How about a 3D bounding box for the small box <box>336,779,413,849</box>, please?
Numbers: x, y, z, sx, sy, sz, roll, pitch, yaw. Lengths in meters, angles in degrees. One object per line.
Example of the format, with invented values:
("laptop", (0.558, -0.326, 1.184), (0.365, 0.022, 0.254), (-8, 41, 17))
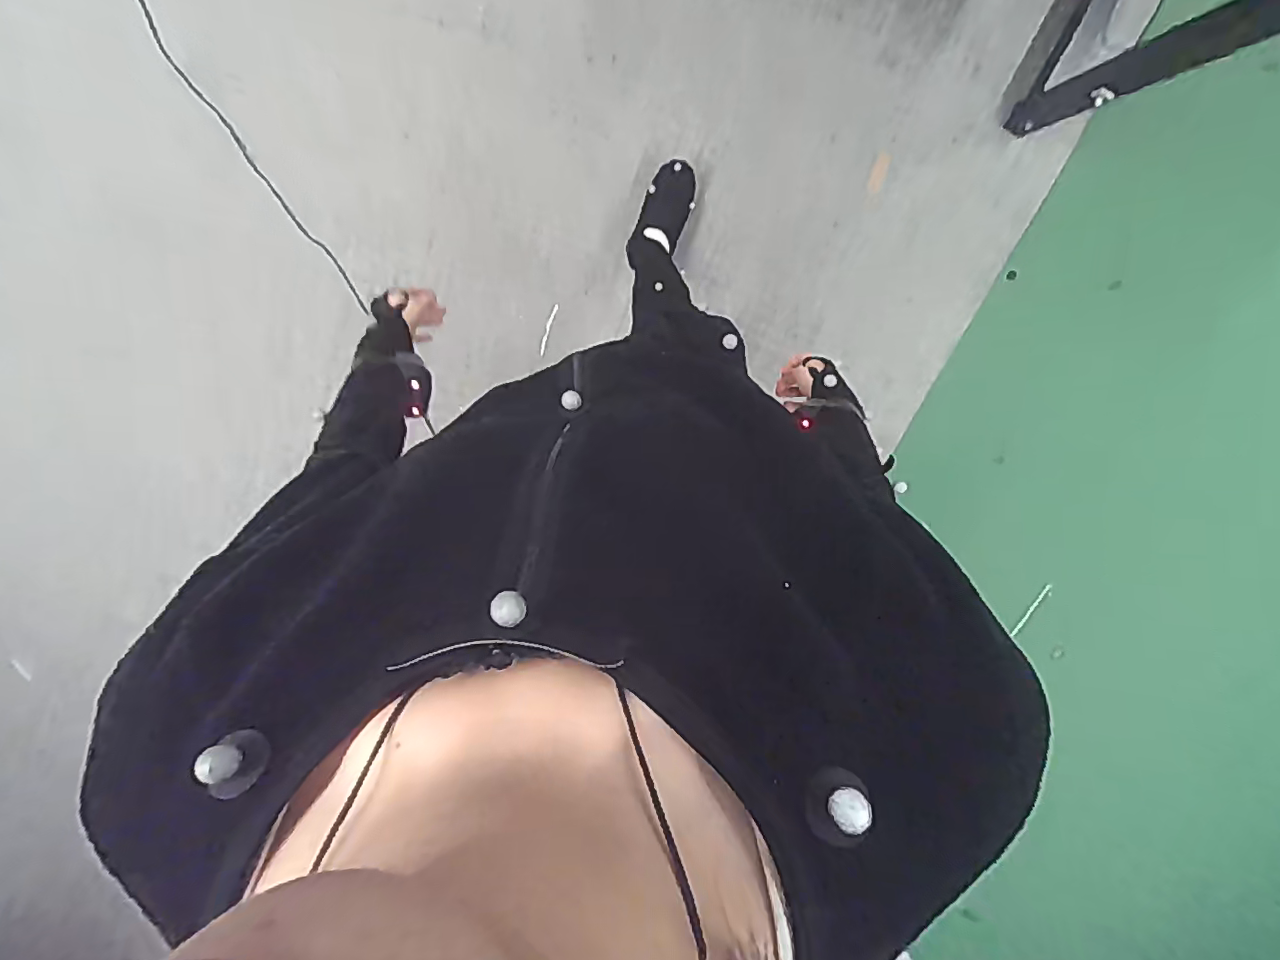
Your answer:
("small box", (-0.819, 1.061, 1.661), (0.168, 0.176, 0.179), (19, 109, -6))
